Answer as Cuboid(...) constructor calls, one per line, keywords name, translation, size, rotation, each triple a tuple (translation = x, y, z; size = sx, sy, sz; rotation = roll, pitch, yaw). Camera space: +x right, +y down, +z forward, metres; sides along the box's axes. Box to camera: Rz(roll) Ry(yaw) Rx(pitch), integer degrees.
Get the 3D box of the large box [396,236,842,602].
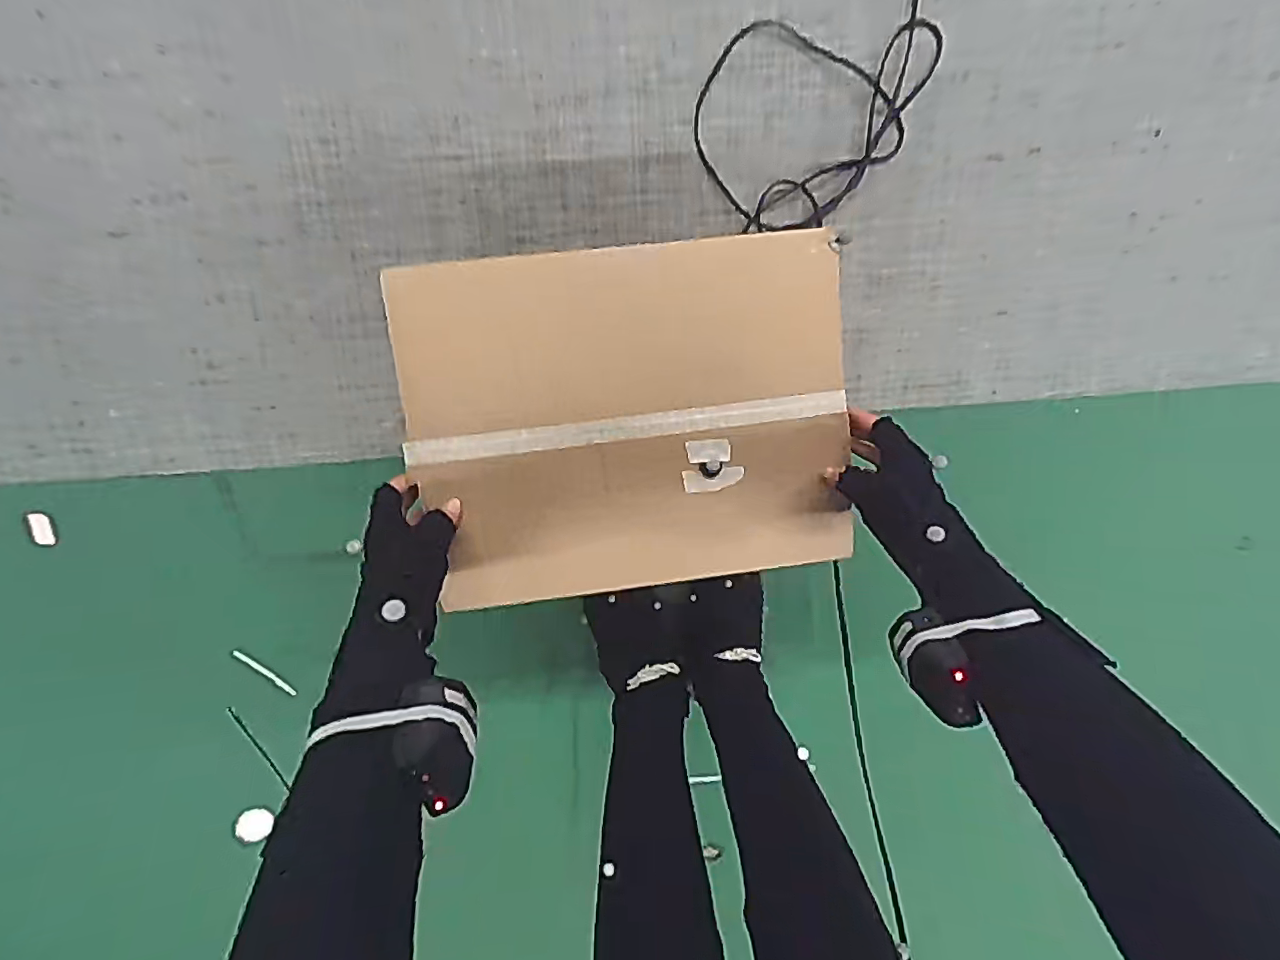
Cuboid(name="large box", translation=(-0.020, -0.078, 0.661), size=(0.408, 0.320, 0.320), rotation=(-7, 101, -5))
